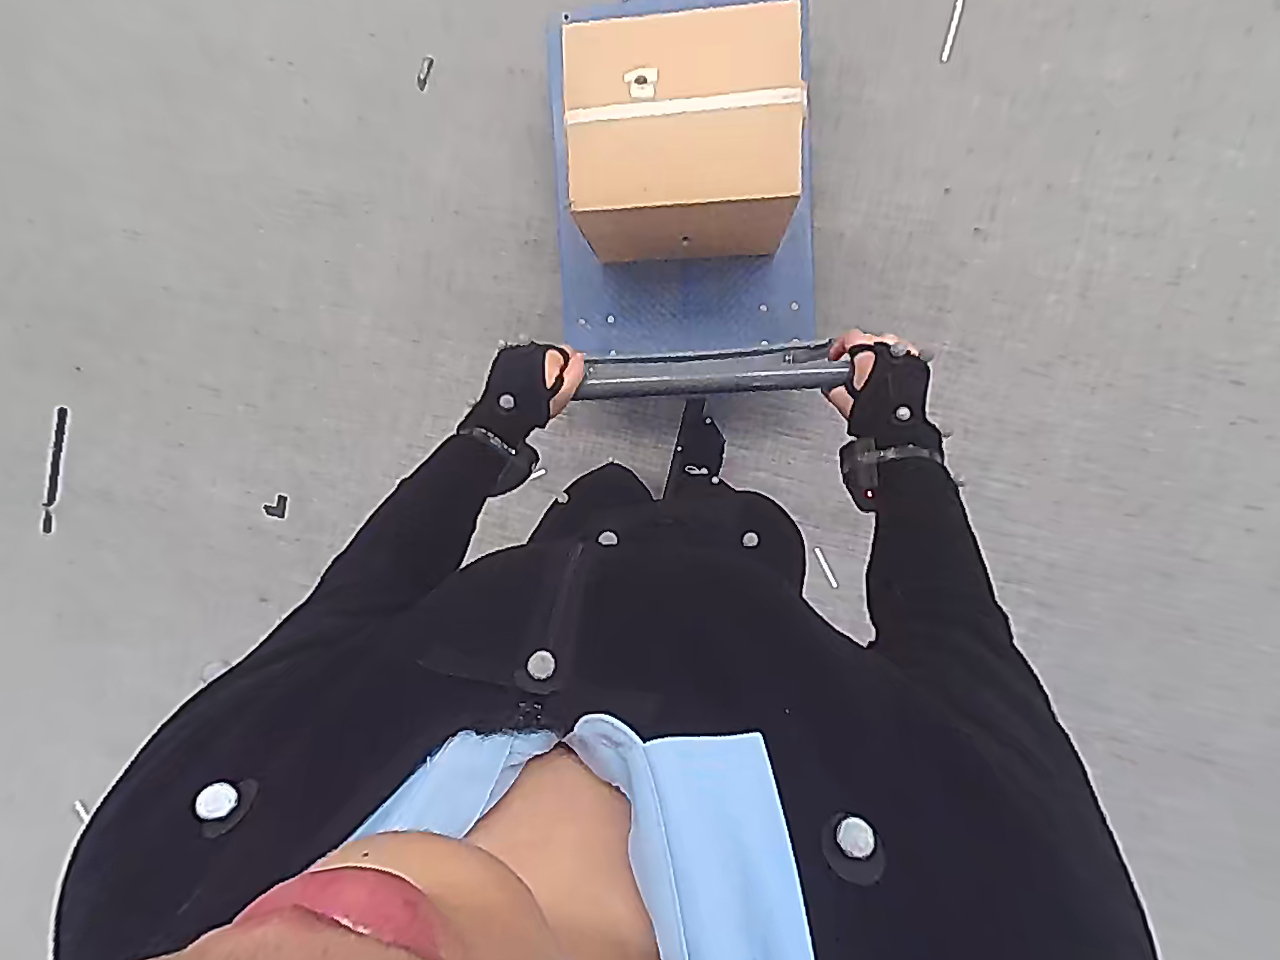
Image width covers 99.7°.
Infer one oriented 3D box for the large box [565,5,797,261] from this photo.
[{"bbox_3d":[0.089,-0.656,1.094,0.408,0.320,0.320,-1,94,7],"label":"large box"}]
